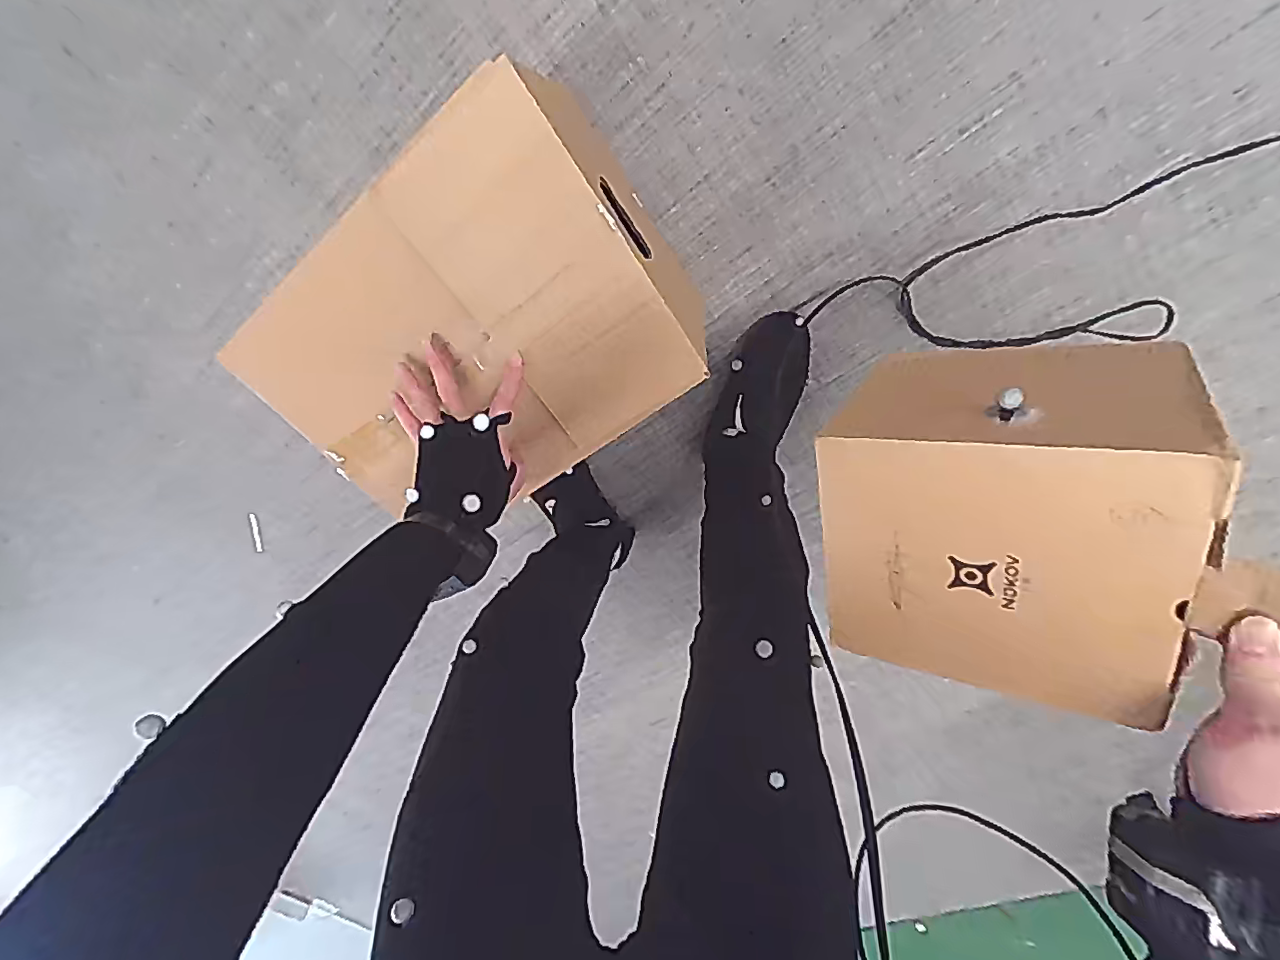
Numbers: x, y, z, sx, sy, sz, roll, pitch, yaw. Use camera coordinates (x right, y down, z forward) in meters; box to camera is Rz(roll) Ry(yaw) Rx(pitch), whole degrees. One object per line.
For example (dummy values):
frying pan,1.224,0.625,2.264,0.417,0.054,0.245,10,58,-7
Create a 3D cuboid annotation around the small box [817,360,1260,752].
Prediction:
small box,0.226,0.024,0.349,0.179,0.176,0.168,9,121,34
